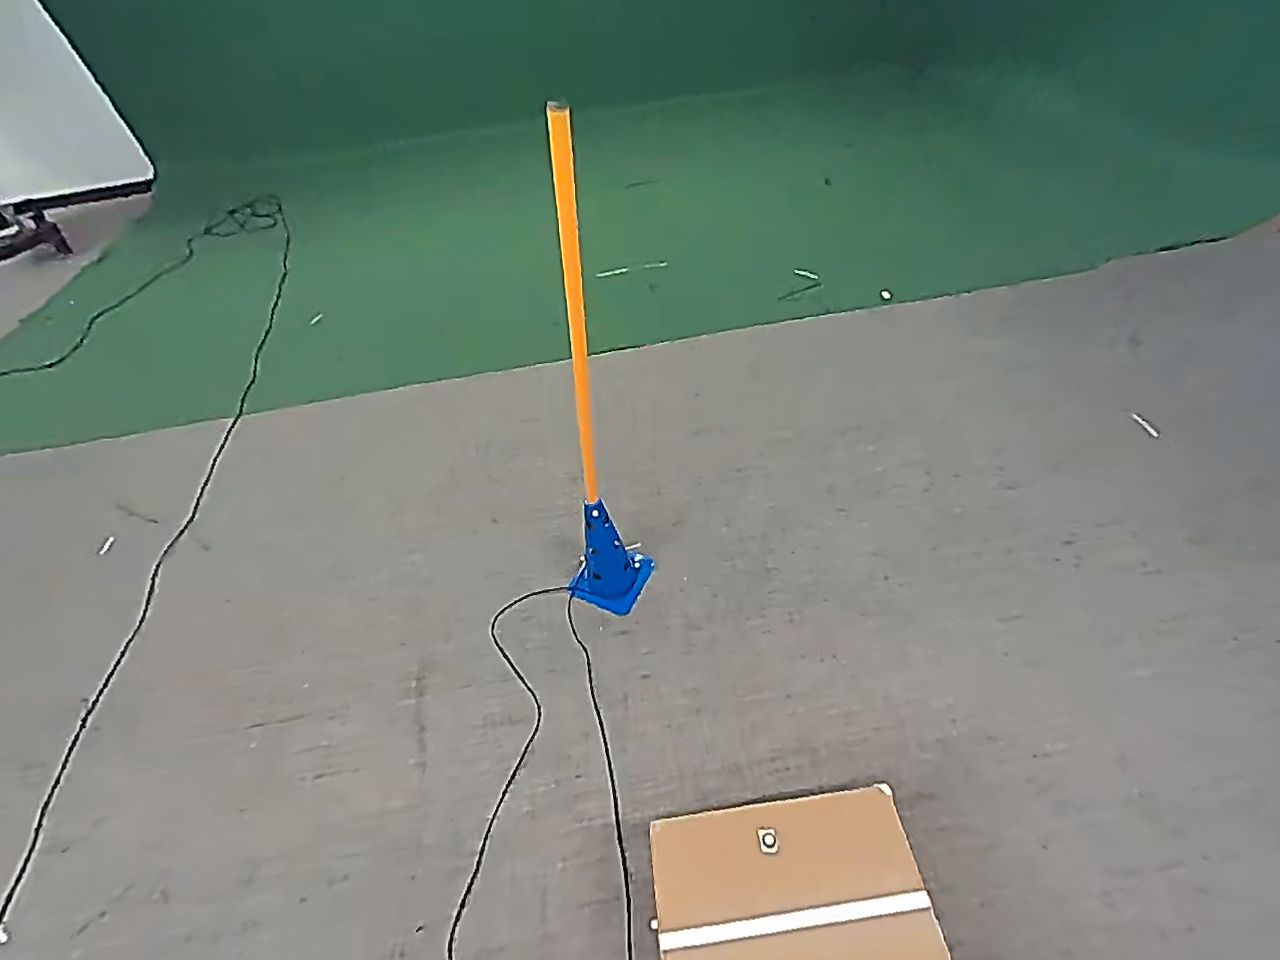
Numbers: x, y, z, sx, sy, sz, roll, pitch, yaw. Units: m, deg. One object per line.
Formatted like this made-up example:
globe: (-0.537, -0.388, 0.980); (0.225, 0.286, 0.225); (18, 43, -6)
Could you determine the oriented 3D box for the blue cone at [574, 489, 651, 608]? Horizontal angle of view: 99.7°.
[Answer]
blue cone: (-0.092, 0.157, 1.425); (0.192, 0.380, 0.193); (16, 52, 19)
